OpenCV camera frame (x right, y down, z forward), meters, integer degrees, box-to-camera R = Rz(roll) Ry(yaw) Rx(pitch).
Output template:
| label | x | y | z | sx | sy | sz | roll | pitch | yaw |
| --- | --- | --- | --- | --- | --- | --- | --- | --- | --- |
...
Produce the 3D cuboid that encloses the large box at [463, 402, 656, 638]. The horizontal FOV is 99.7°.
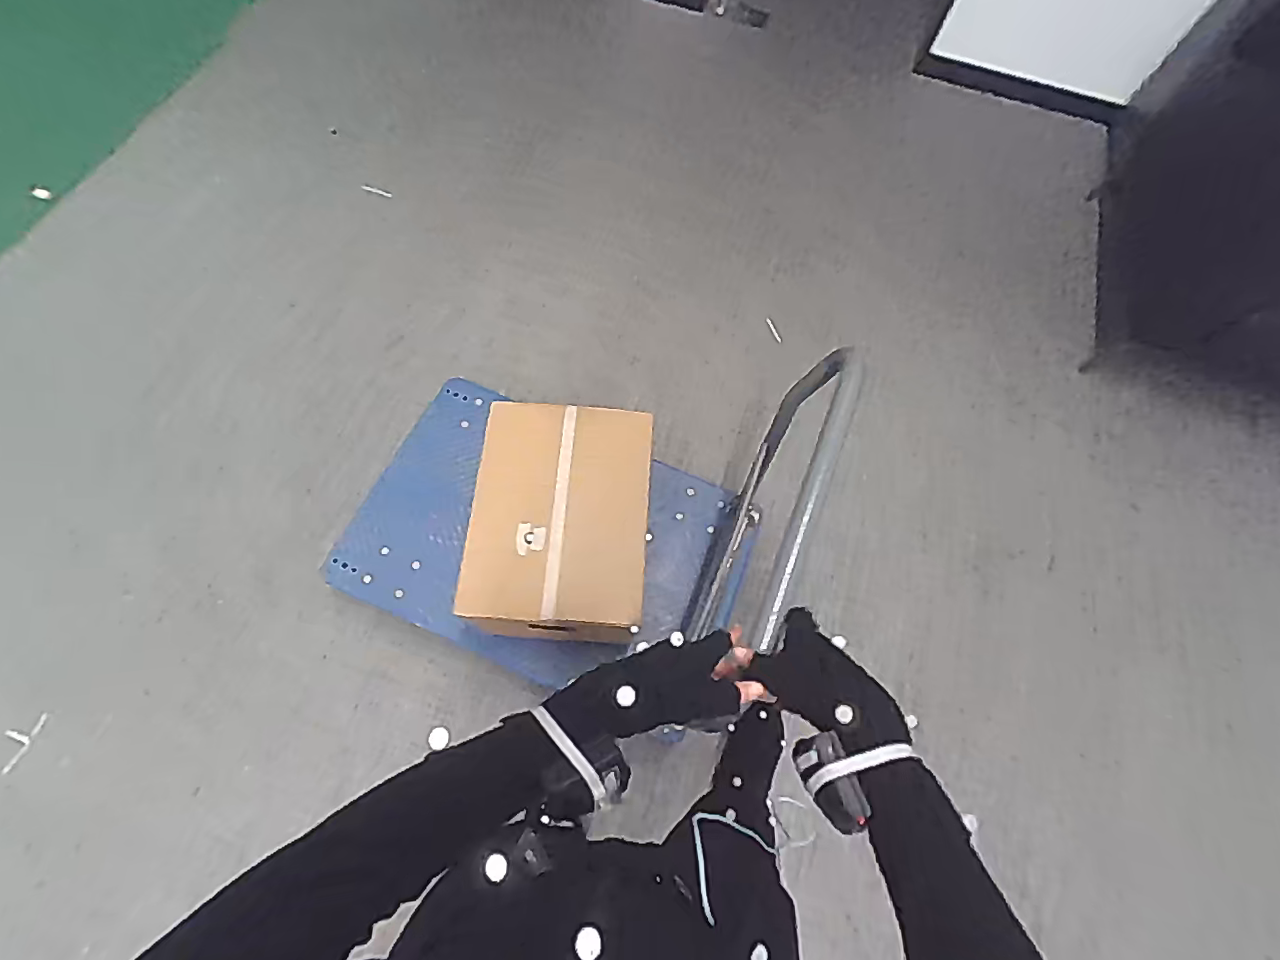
| label | x | y | z | sx | sy | sz | roll | pitch | yaw |
| --- | --- | --- | --- | --- | --- | --- | --- | --- | --- |
| large box | -0.144 | 0.096 | 1.109 | 0.320 | 0.320 | 0.408 | 5 | 69 | -2 |
